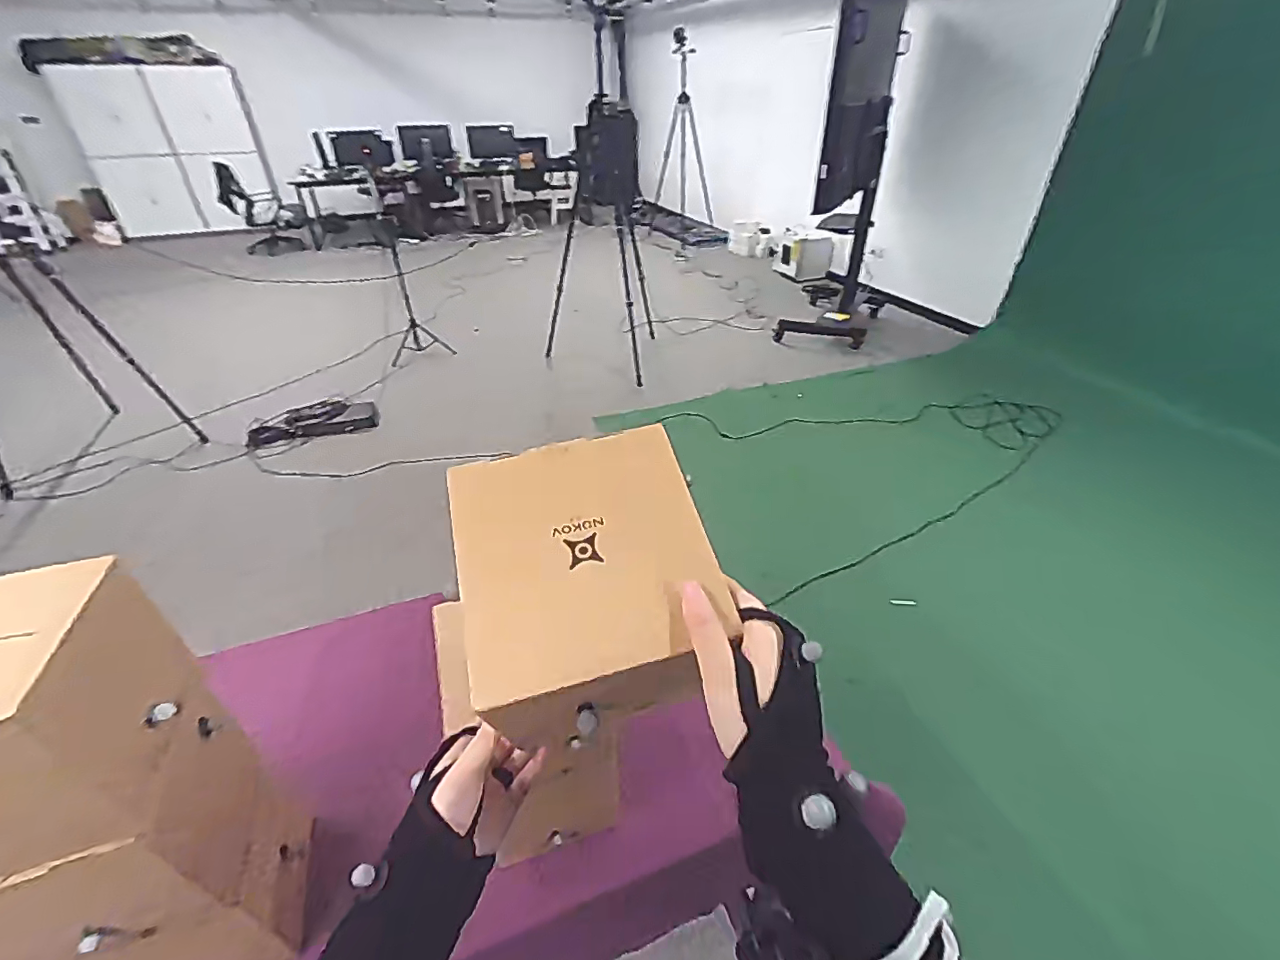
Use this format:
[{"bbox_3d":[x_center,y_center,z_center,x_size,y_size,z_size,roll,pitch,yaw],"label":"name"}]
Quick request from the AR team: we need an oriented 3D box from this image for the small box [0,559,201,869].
[{"bbox_3d":[-0.513,0.195,0.437,0.179,0.176,0.168,-12,37,-16],"label":"small box"}]

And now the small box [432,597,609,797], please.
[{"bbox_3d":[-0.140,0.244,0.645,0.168,0.176,0.179,-13,38,-17],"label":"small box"}]

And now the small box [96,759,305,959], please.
[{"bbox_3d":[-0.512,0.468,0.624,0.179,0.176,0.168,-14,37,-18],"label":"small box"}]

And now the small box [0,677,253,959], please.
[{"bbox_3d":[-0.515,0.331,0.531,0.168,0.176,0.179,-14,38,-16],"label":"small box"}]

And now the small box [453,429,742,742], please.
[{"bbox_3d":[-0.037,0.091,0.426,0.168,0.176,0.179,-12,57,-10],"label":"small box"}]
